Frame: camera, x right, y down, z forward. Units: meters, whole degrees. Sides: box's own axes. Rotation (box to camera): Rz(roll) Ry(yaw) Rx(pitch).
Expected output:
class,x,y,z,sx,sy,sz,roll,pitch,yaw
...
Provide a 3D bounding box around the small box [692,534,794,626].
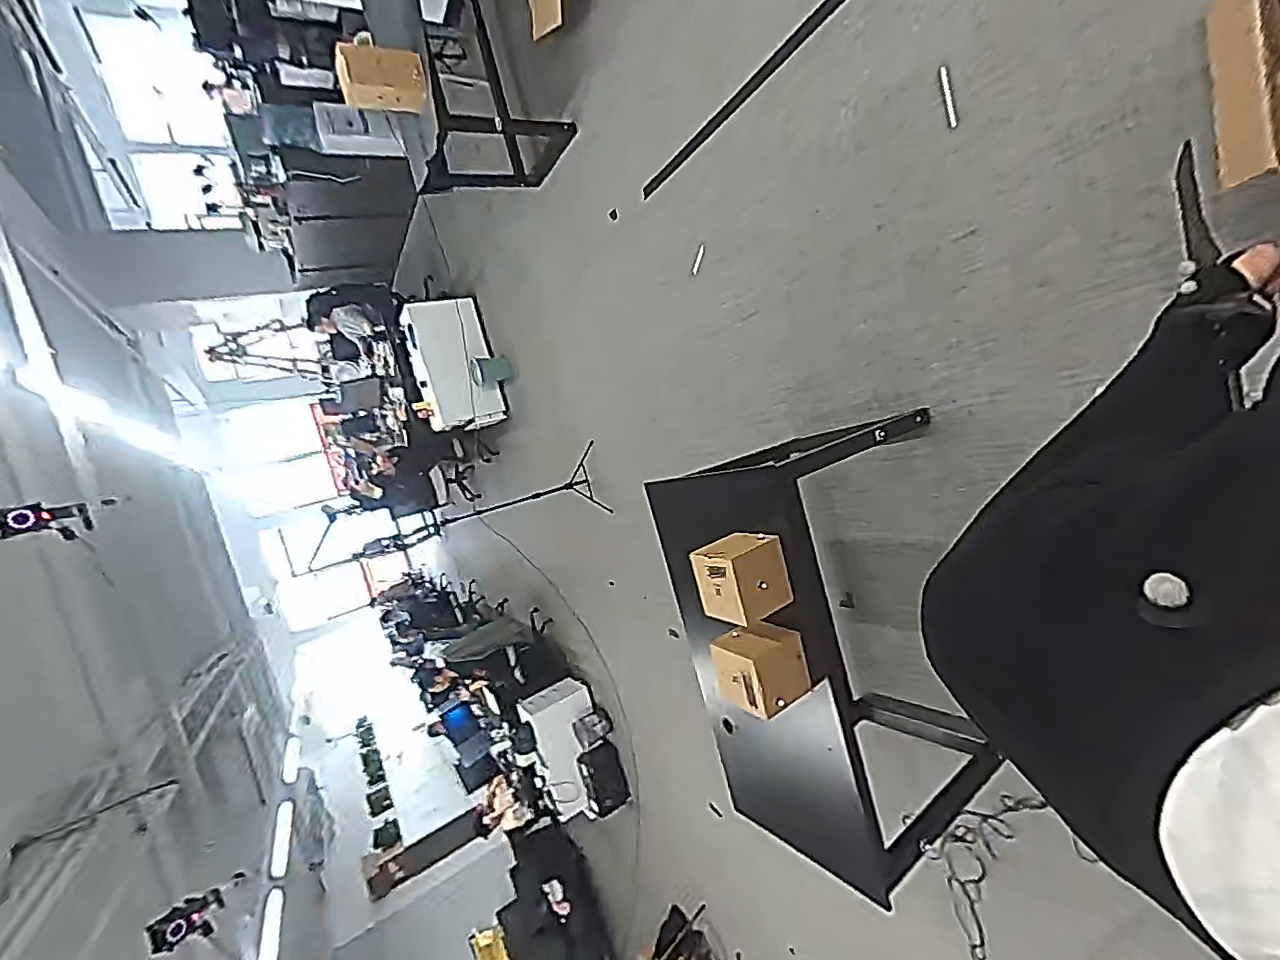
class,x,y,z,sx,sy,sz,roll,pitch,yaw
small box,0.265,0.246,1.383,0.168,0.176,0.179,-4,104,60
